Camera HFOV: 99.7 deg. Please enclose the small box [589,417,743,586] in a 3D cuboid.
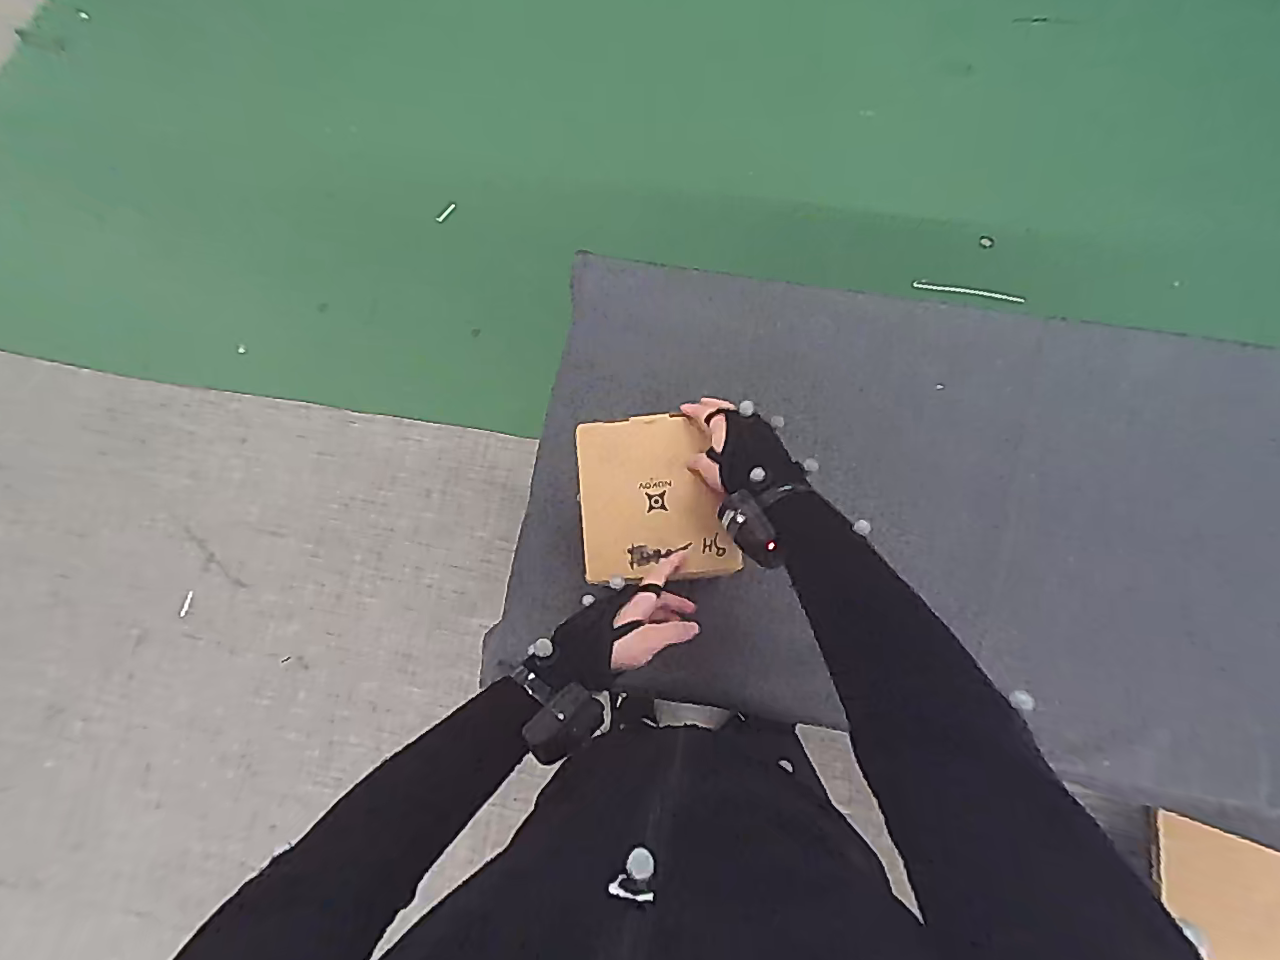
[{"bbox_3d":[0.028,0.034,0.664,0.168,0.176,0.179,-2,75,2],"label":"small box"}]
